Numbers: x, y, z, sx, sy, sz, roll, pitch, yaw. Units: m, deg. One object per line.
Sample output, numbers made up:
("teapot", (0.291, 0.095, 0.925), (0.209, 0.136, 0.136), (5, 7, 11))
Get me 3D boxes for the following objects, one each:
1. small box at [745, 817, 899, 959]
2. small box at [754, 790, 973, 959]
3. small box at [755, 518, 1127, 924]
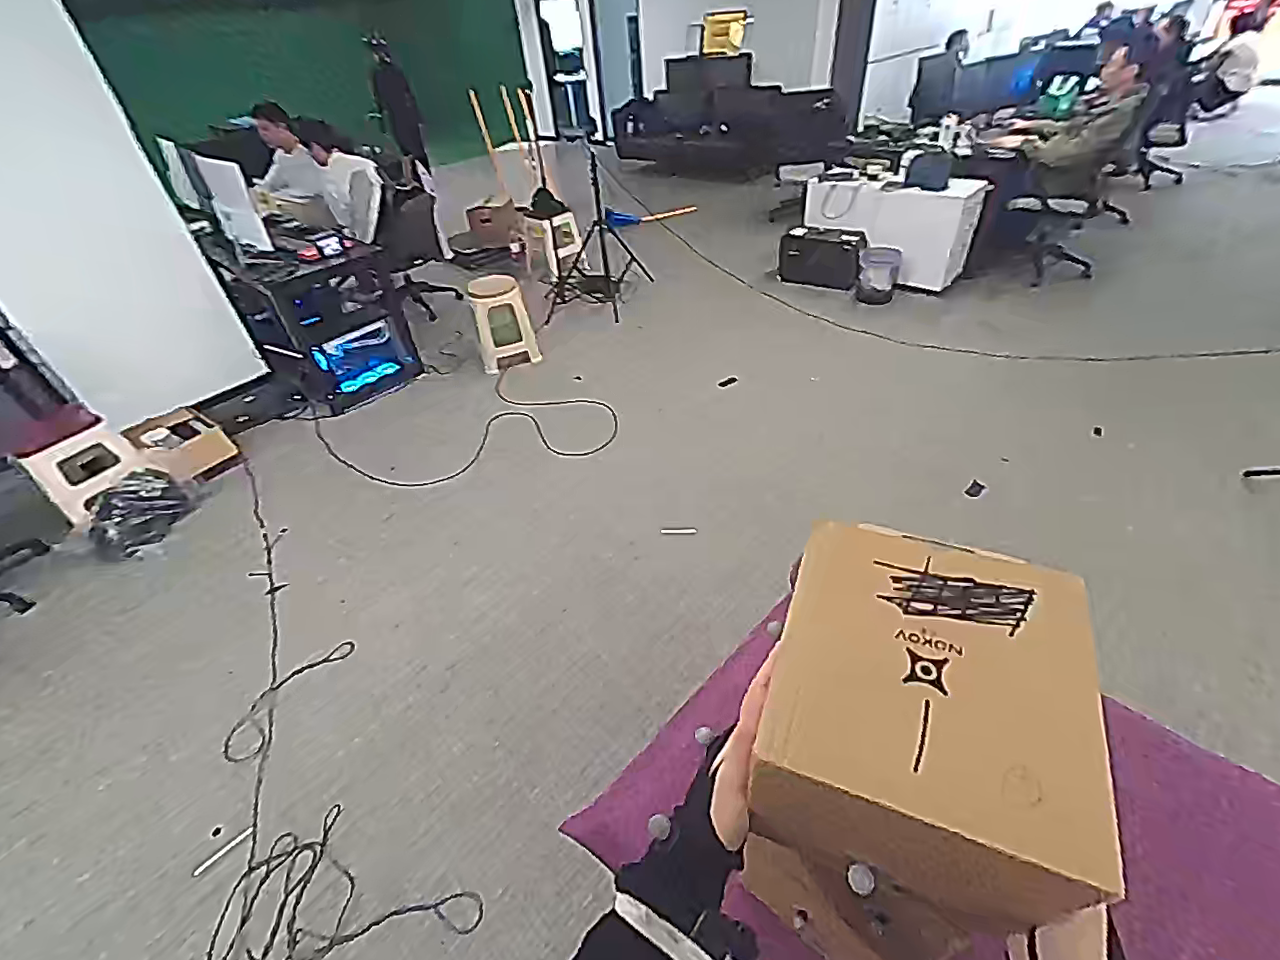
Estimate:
("small box", (0.233, 0.410, 0.614), (0.168, 0.176, 0.179), (27, 49, 31))
("small box", (0.218, 0.291, 0.504), (0.168, 0.176, 0.179), (25, 48, 30))
("small box", (0.178, 0.159, 0.369), (0.168, 0.176, 0.179), (12, 50, 21))
